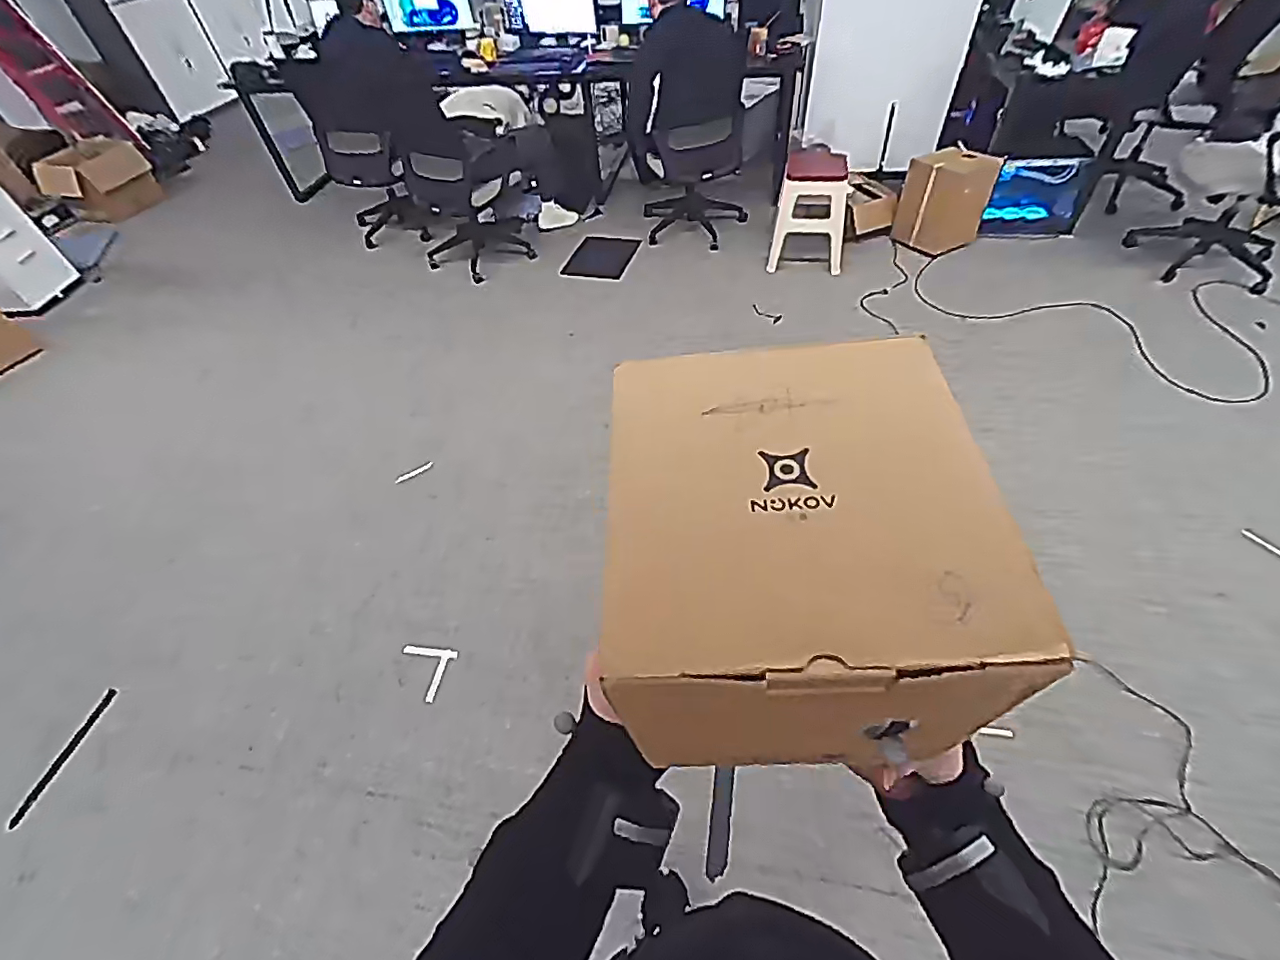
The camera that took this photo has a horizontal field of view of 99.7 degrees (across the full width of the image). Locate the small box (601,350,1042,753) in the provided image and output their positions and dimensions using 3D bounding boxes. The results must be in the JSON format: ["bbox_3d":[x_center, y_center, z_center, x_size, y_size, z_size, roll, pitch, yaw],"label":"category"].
[{"bbox_3d":[0.076,0.051,0.315,0.168,0.176,0.179,-4,52,5],"label":"small box"}]
